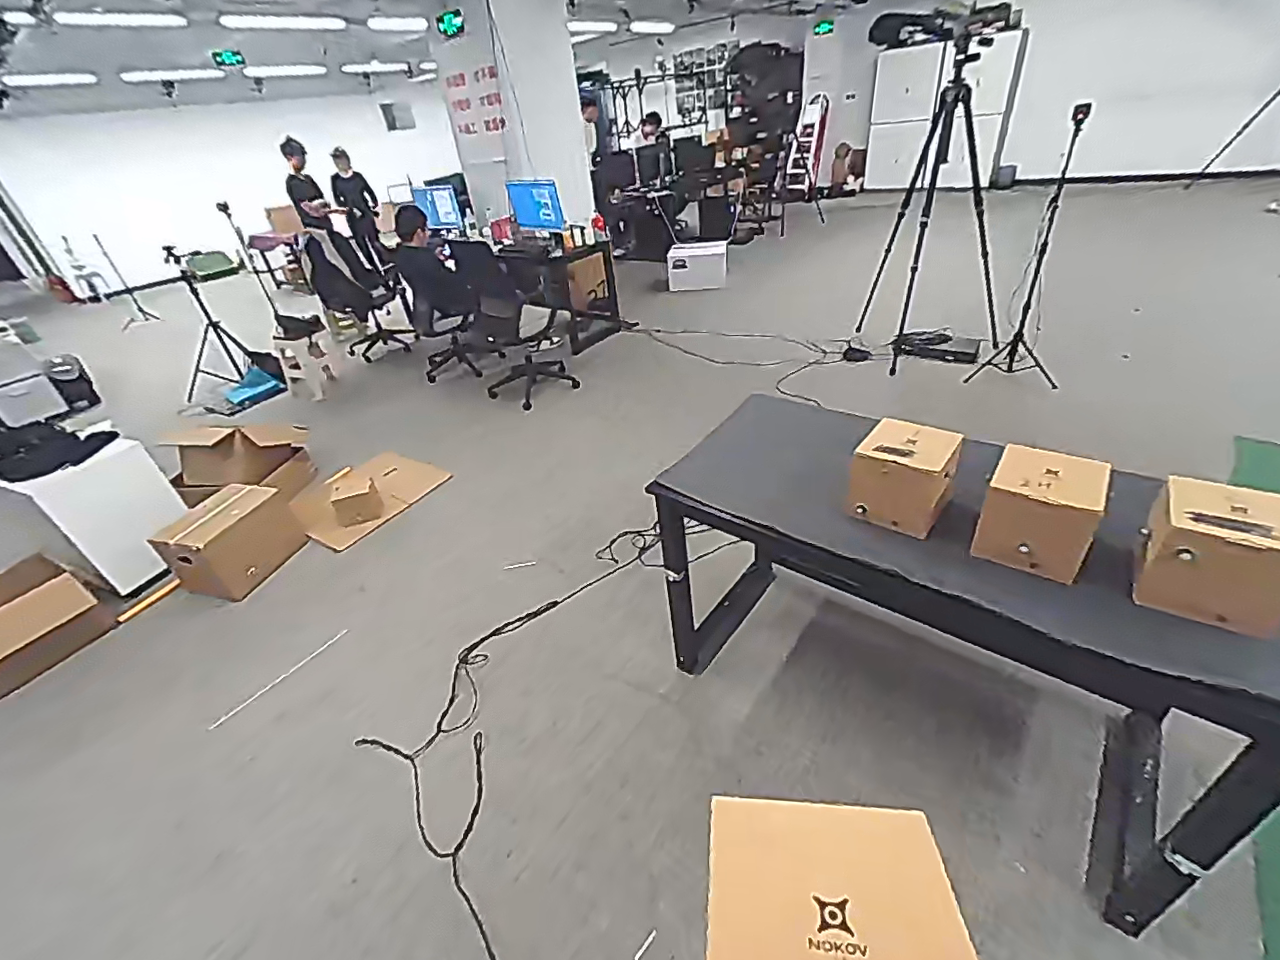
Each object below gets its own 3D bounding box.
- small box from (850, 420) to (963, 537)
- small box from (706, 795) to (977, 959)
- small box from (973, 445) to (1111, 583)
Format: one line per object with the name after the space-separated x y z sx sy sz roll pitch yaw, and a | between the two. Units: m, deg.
0.568 -0.005 1.165 0.168 0.176 0.179 21 42 36 | small box
0.130 0.362 0.378 0.168 0.176 0.179 -1 21 9 | small box
0.756 0.061 1.027 0.168 0.176 0.179 19 41 35 | small box
